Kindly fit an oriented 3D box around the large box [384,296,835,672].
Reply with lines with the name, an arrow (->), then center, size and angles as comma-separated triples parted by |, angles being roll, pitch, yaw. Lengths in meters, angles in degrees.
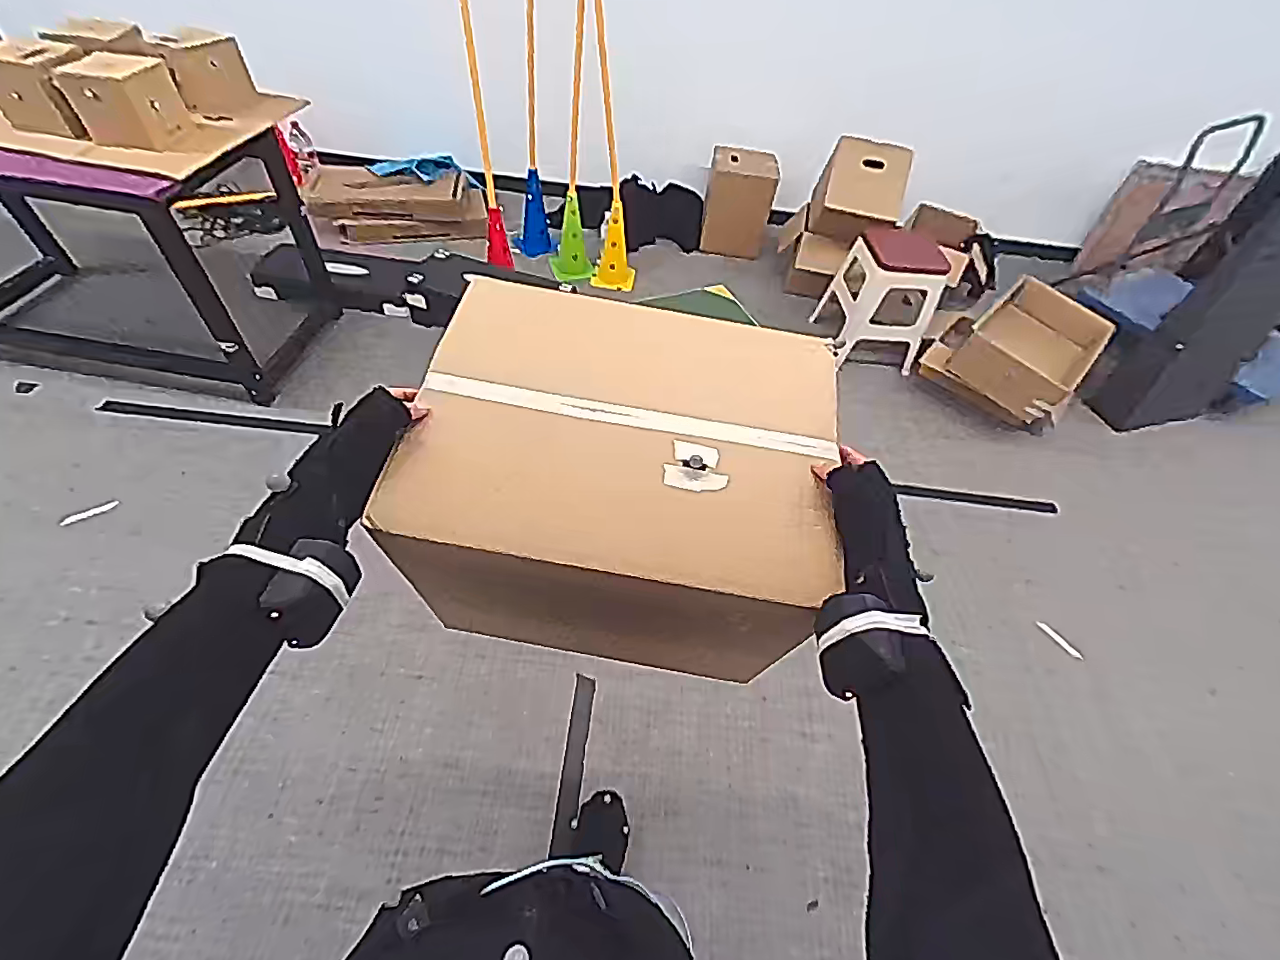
large box -> -0.022, 0.024, 0.667 | 0.408, 0.320, 0.320 | 10, 60, 0
